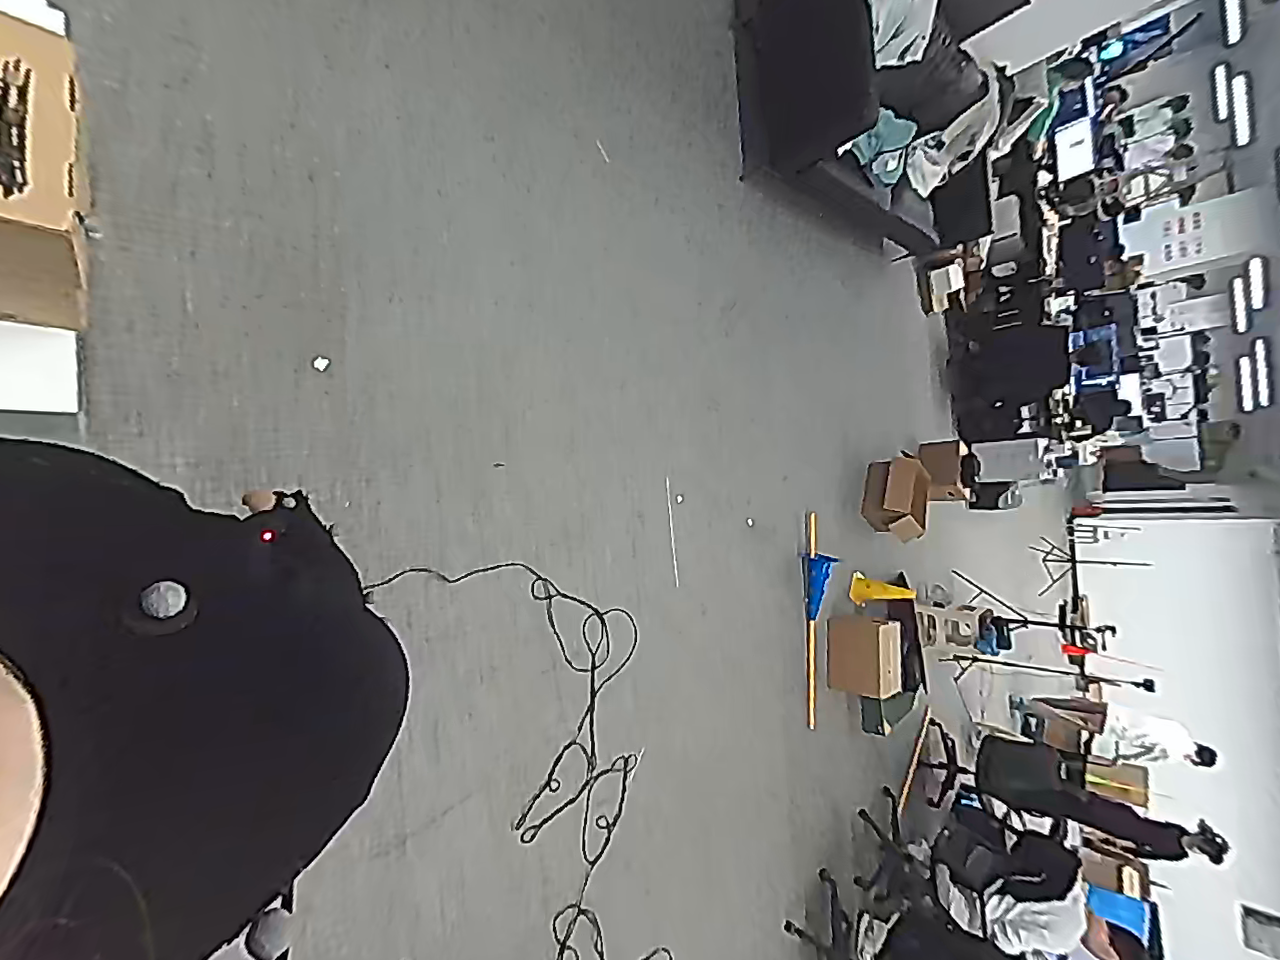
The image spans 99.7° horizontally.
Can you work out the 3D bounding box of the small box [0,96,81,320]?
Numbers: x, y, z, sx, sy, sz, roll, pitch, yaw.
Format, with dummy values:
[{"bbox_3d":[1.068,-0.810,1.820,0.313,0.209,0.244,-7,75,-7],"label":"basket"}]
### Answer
[{"bbox_3d":[-0.703,-0.286,0.559,0.168,0.176,0.179,1,87,-44],"label":"small box"}]
